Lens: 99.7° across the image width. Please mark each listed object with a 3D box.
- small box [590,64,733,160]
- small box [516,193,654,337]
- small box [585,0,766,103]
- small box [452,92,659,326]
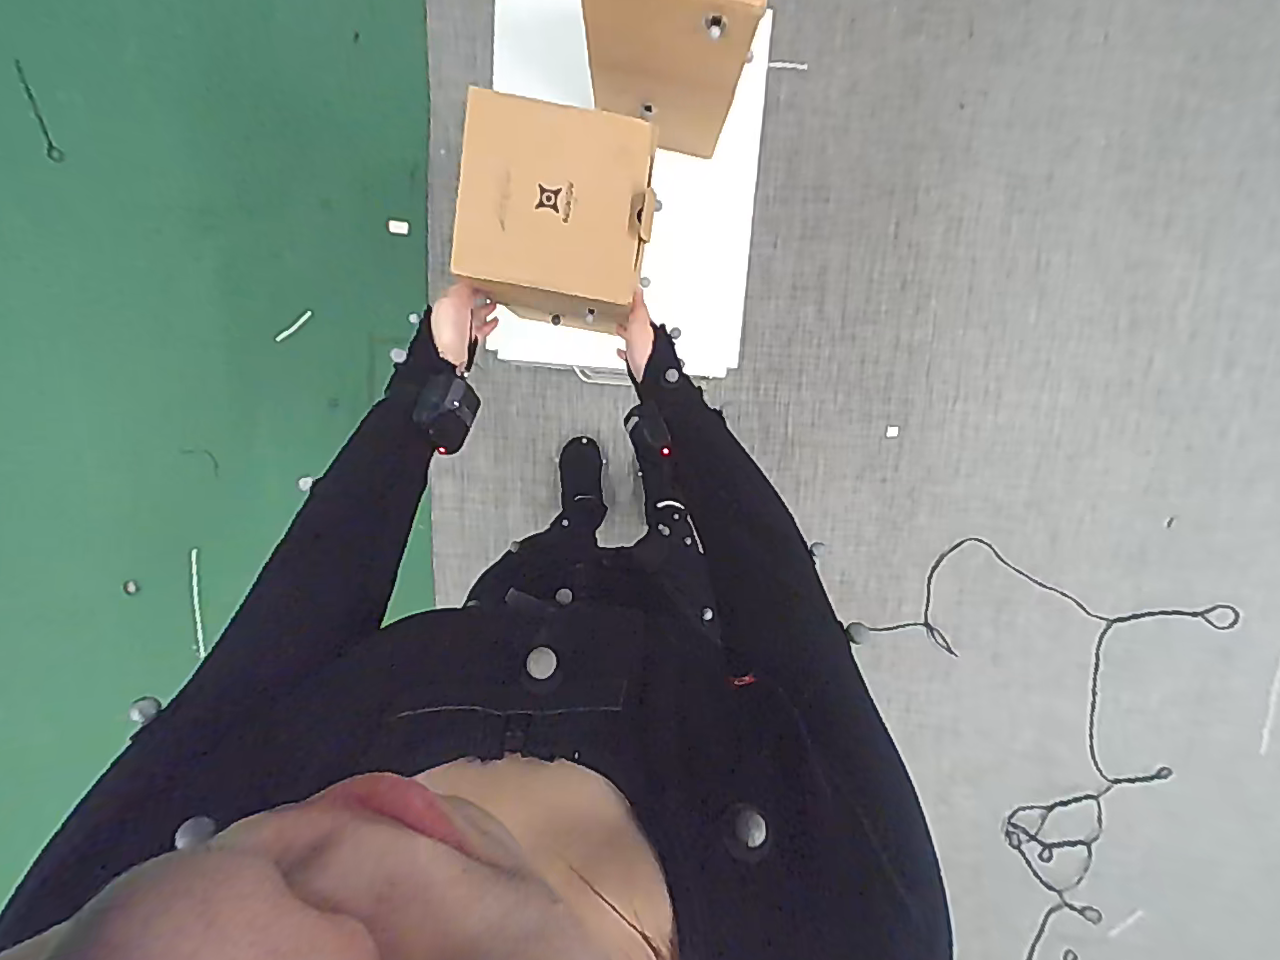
[{"bbox_3d":[0.040,-0.553,0.710,0.179,0.176,0.168,11,99,-3],"label":"small box"},{"bbox_3d":[-0.085,-0.299,0.744,0.179,0.176,0.168,10,98,-4],"label":"small box"},{"bbox_3d":[0.040,-0.524,0.549,0.179,0.176,0.168,10,99,-4],"label":"small box"},{"bbox_3d":[-0.083,-0.270,0.584,0.179,0.176,0.168,9,97,-3],"label":"small box"}]
